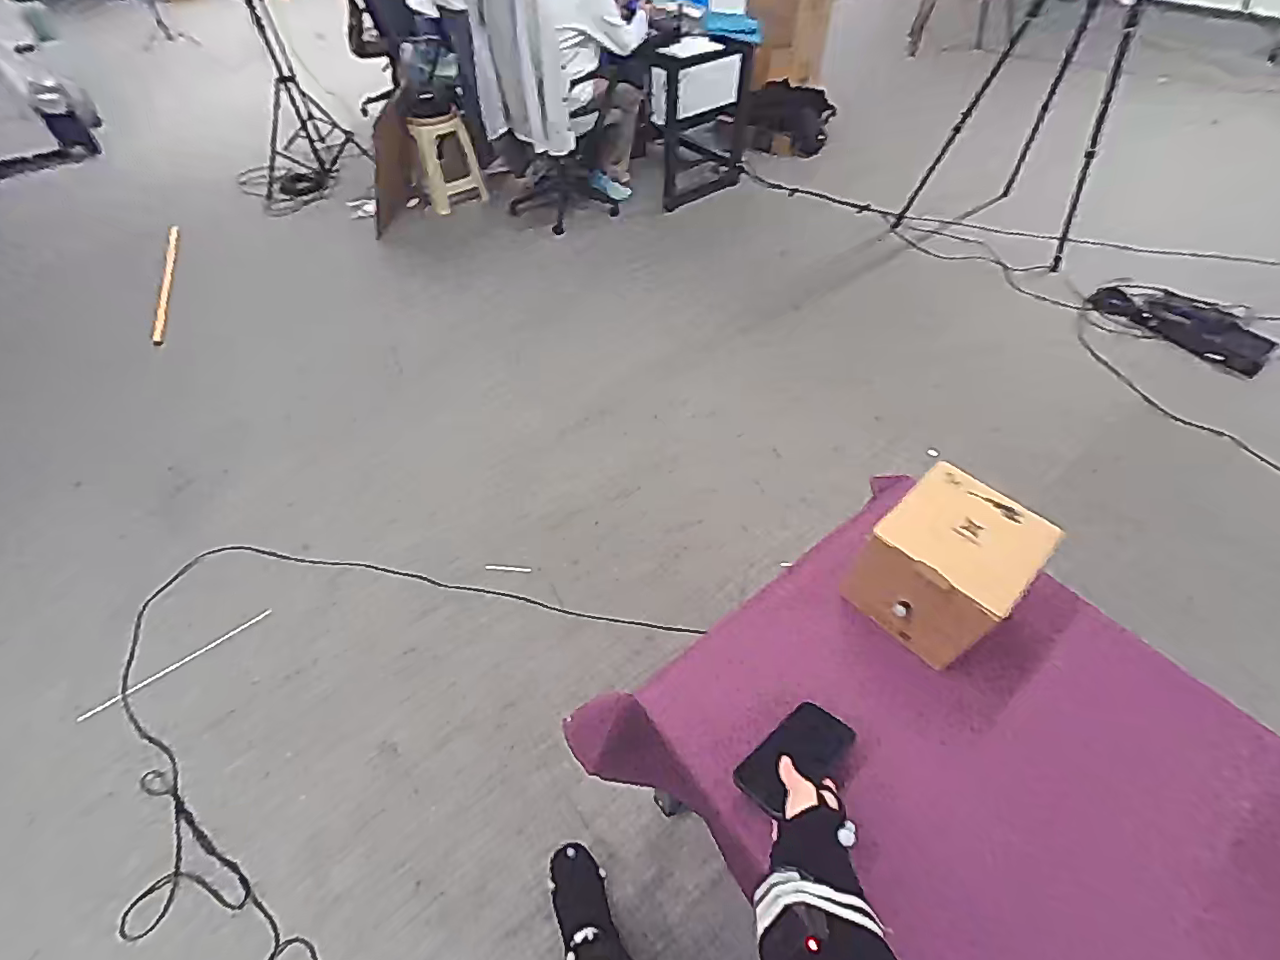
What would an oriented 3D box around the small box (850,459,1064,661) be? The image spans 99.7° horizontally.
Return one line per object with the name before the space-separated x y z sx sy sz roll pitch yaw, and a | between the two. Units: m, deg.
small box | 0.409 0.112 0.733 0.179 0.176 0.168 -37 59 -23
